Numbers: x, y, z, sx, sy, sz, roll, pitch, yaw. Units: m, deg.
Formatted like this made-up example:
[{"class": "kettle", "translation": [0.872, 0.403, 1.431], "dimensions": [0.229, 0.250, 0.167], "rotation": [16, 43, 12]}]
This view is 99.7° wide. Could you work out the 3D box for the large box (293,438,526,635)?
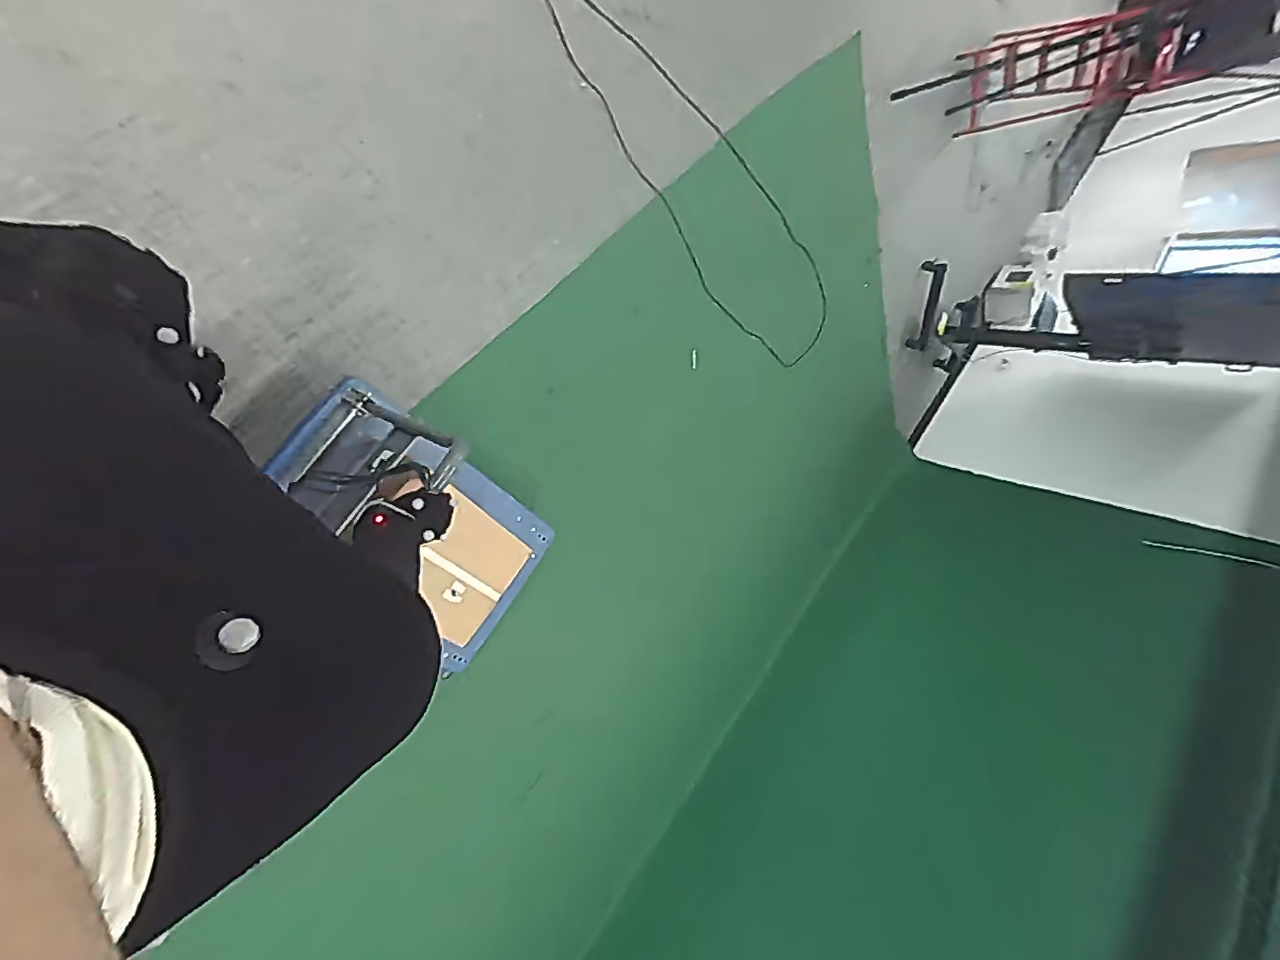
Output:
[{"class": "large box", "translation": [-0.594, 0.146, 1.425], "dimensions": [0.320, 0.320, 0.408], "rotation": [-55, 137, -16]}]
